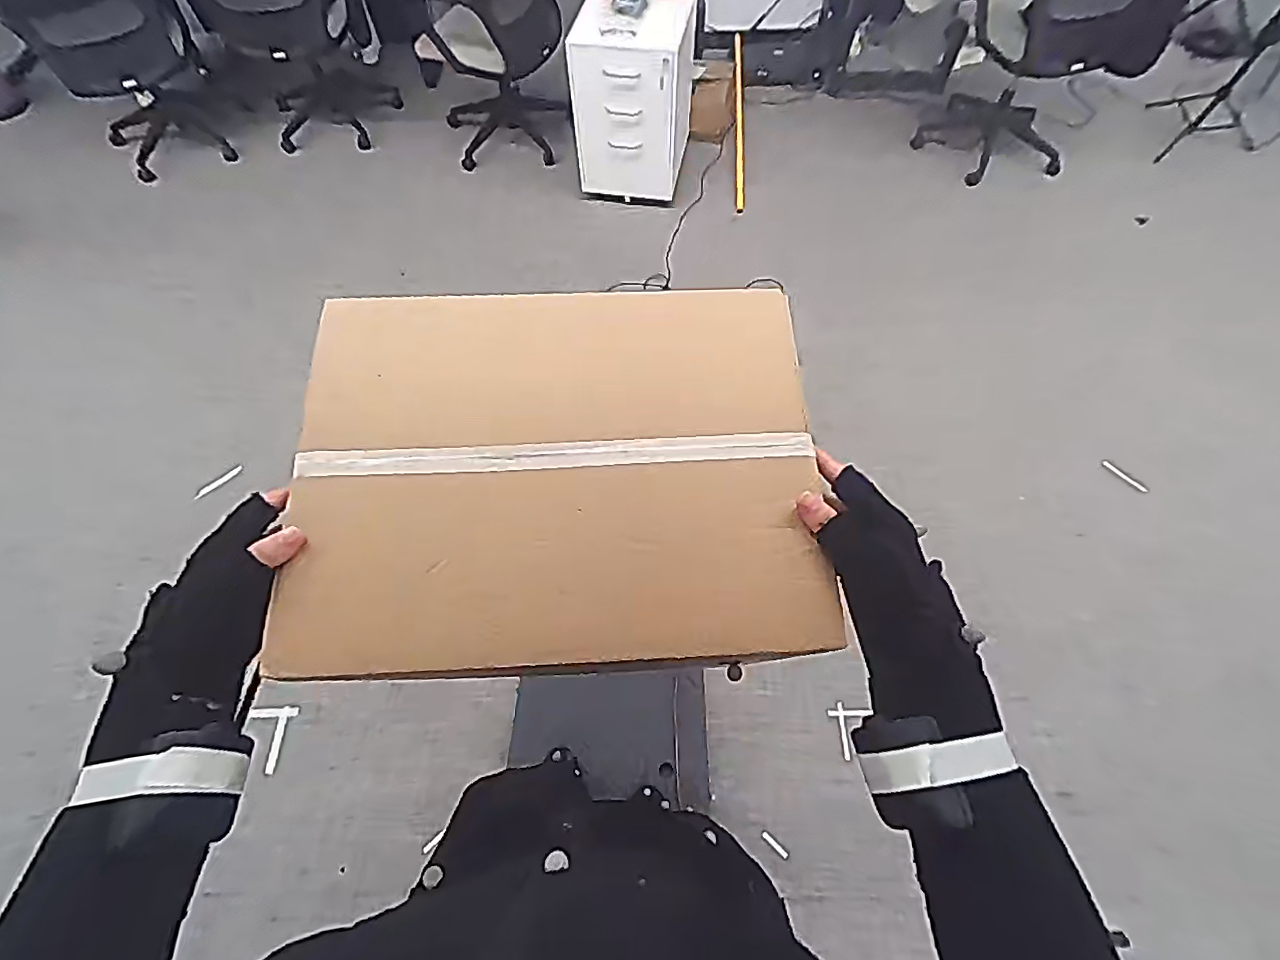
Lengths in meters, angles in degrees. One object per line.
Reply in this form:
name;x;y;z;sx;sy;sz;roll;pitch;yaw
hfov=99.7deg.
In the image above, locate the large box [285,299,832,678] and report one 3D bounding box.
large box;-0.066;0.034;0.579;0.408;0.320;0.320;-2;70;-3
